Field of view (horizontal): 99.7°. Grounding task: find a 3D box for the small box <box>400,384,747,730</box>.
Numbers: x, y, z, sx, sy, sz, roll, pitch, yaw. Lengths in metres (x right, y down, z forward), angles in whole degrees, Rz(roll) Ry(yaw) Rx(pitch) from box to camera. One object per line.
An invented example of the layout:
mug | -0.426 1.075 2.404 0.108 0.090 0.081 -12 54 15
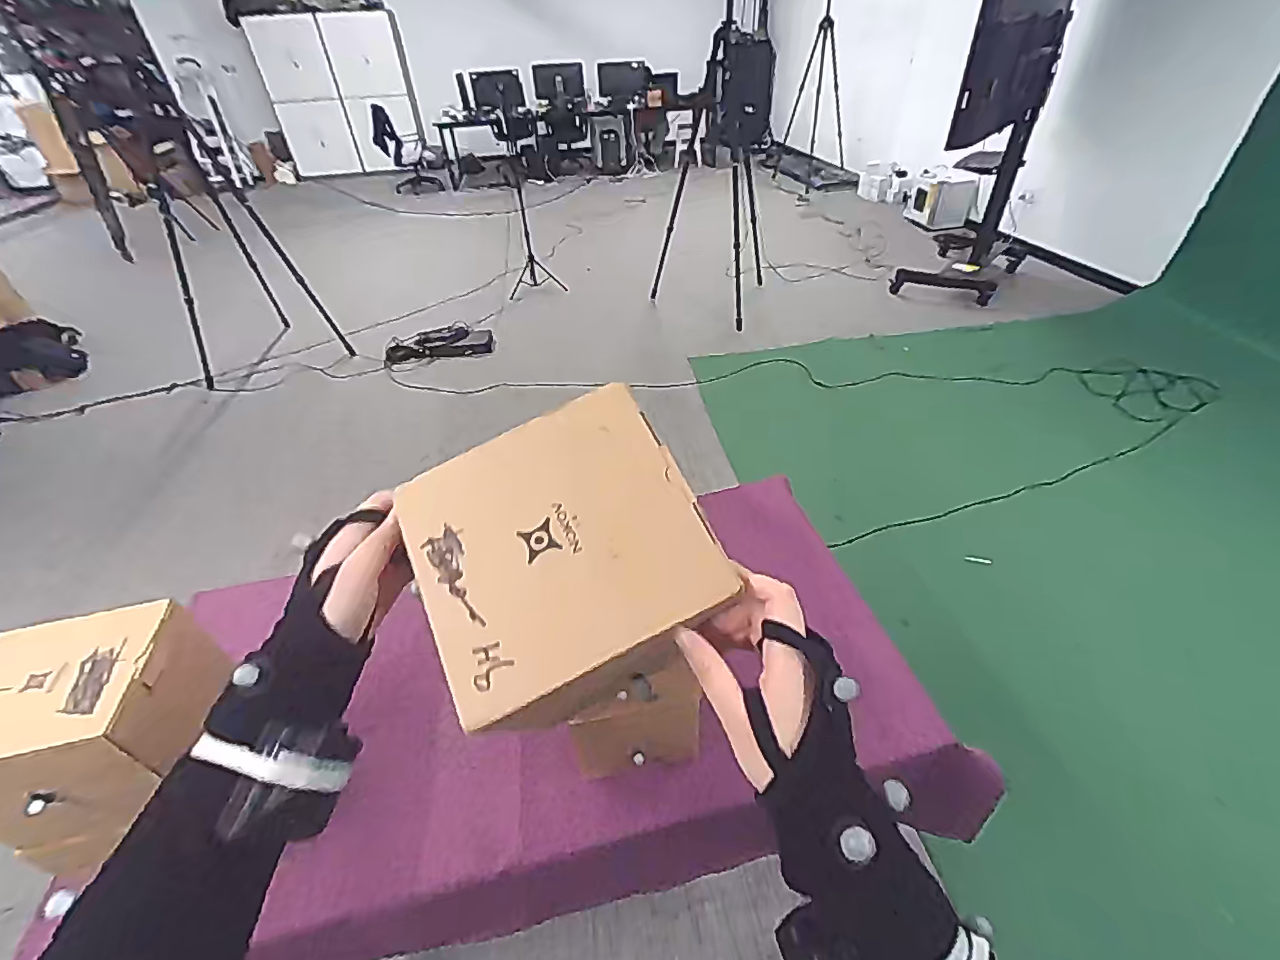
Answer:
small box | -0.040 0.067 0.404 0.179 0.176 0.168 -26 64 -5

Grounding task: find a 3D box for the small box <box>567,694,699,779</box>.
small box | -0.018 0.291 0.772 0.168 0.176 0.179 -9 40 -6

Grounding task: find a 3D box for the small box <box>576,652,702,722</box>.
small box | -0.023 0.165 0.668 0.168 0.176 0.179 -9 41 -6

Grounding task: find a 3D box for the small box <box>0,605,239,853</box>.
small box | -0.586 0.267 0.587 0.179 0.176 0.168 -11 40 -10
